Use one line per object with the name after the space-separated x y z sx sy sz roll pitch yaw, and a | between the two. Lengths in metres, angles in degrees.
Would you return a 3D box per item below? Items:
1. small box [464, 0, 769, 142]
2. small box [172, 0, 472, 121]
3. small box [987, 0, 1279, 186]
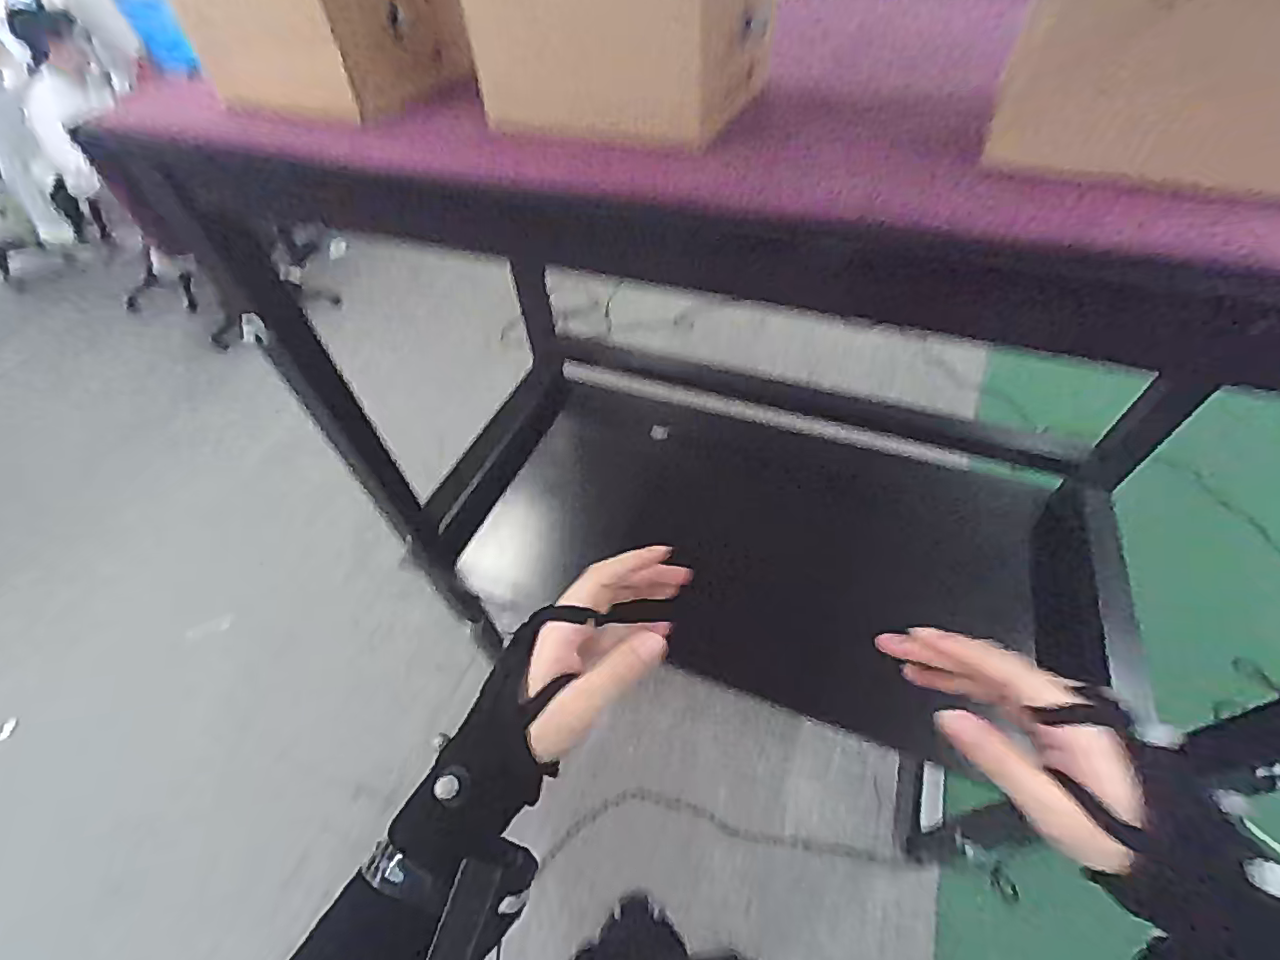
-0.014 -0.357 0.374 0.179 0.176 0.168 17 55 18 | small box
-0.276 -0.424 0.453 0.179 0.176 0.168 17 54 17 | small box
0.307 -0.273 0.276 0.179 0.176 0.168 18 55 20 | small box
